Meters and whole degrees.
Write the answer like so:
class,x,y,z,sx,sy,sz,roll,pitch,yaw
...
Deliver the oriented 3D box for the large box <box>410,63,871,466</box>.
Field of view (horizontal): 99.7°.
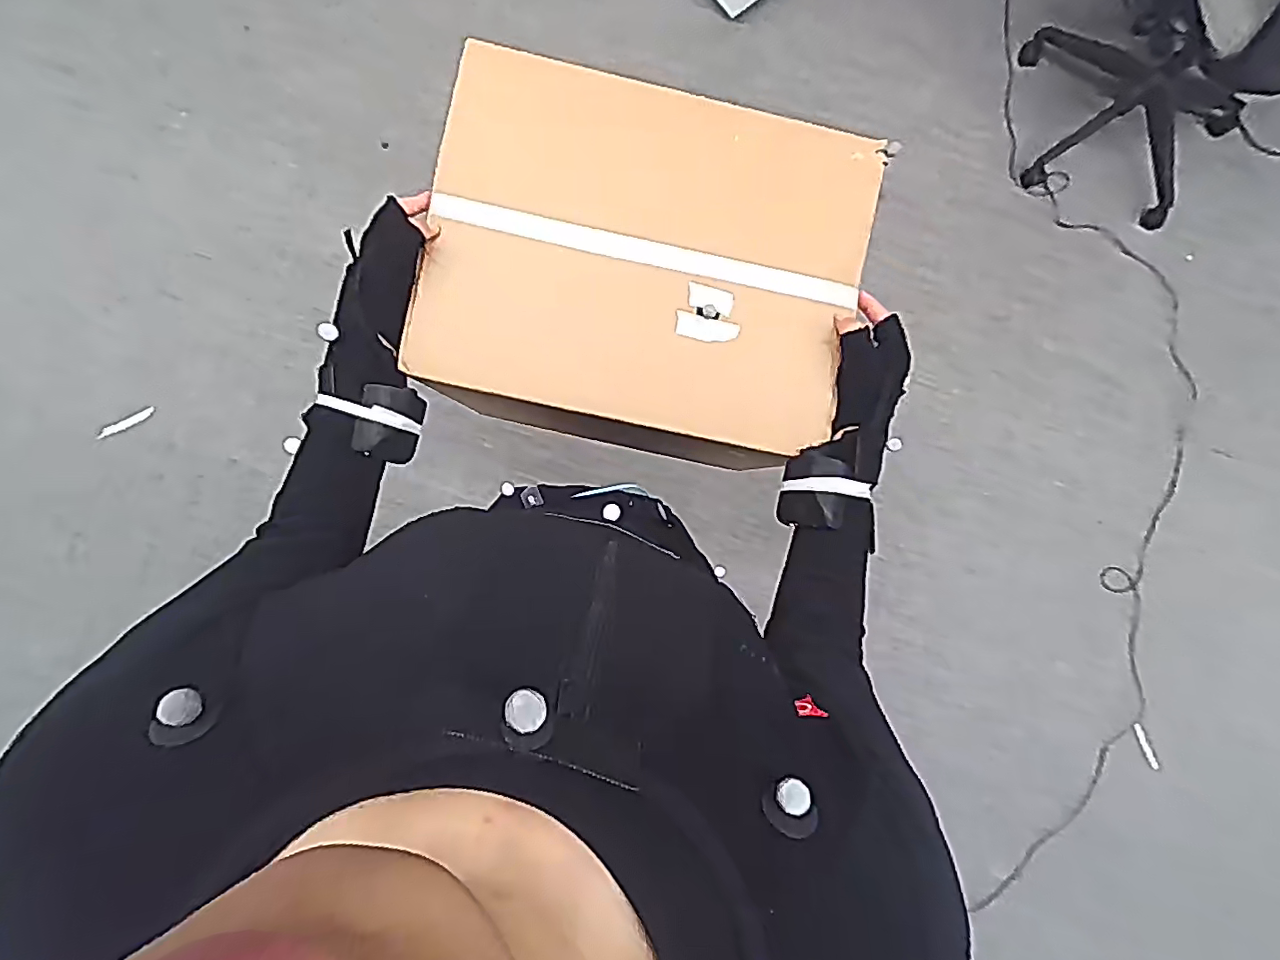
class,x,y,z,sx,sy,sz,roll,pitch,yaw
large box,-0.006,-0.207,0.664,0.408,0.320,0.320,12,90,-4
